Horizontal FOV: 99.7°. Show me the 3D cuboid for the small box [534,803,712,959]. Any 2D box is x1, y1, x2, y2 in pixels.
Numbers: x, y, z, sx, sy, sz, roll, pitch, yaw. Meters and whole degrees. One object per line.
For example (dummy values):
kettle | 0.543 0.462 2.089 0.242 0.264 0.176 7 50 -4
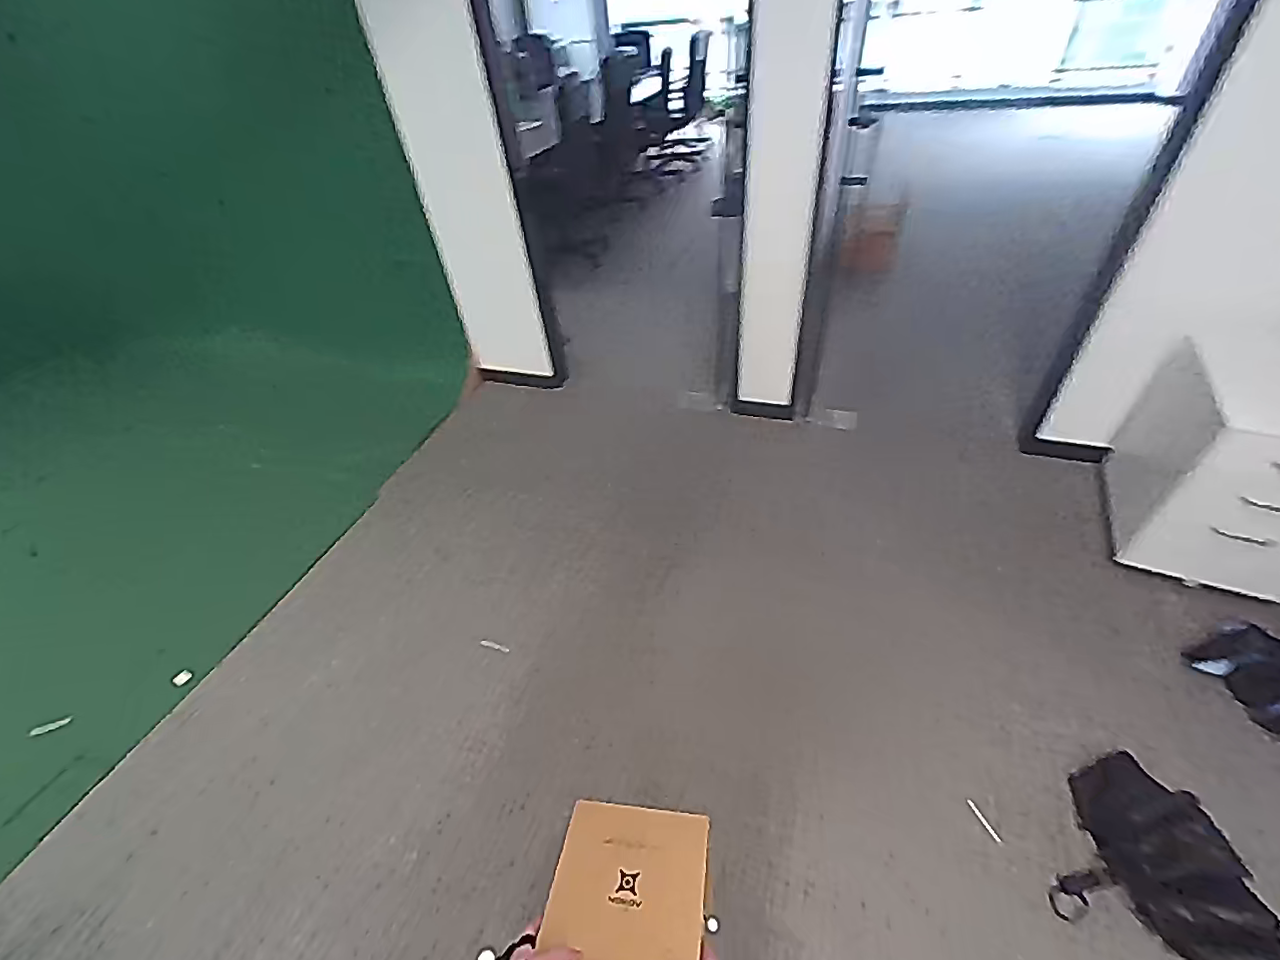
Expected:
small box | -0.005 0.509 0.614 0.168 0.176 0.179 -1 24 9
